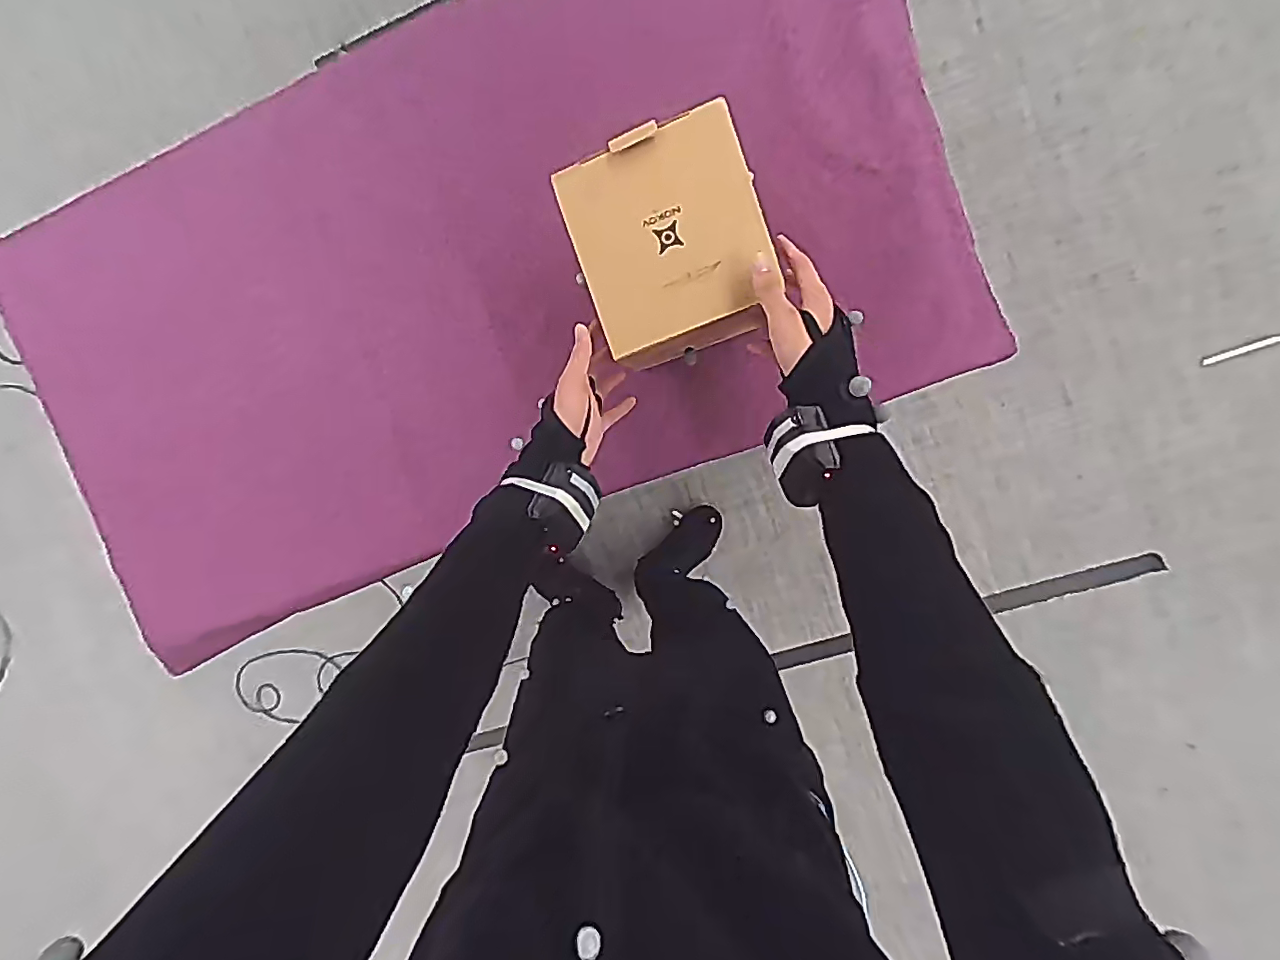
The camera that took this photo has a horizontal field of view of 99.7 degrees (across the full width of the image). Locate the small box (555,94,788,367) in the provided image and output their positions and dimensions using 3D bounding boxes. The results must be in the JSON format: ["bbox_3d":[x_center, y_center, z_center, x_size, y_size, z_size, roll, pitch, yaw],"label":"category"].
[{"bbox_3d":[0.036,-0.227,0.547,0.168,0.176,0.179,-18,94,11],"label":"small box"}]
